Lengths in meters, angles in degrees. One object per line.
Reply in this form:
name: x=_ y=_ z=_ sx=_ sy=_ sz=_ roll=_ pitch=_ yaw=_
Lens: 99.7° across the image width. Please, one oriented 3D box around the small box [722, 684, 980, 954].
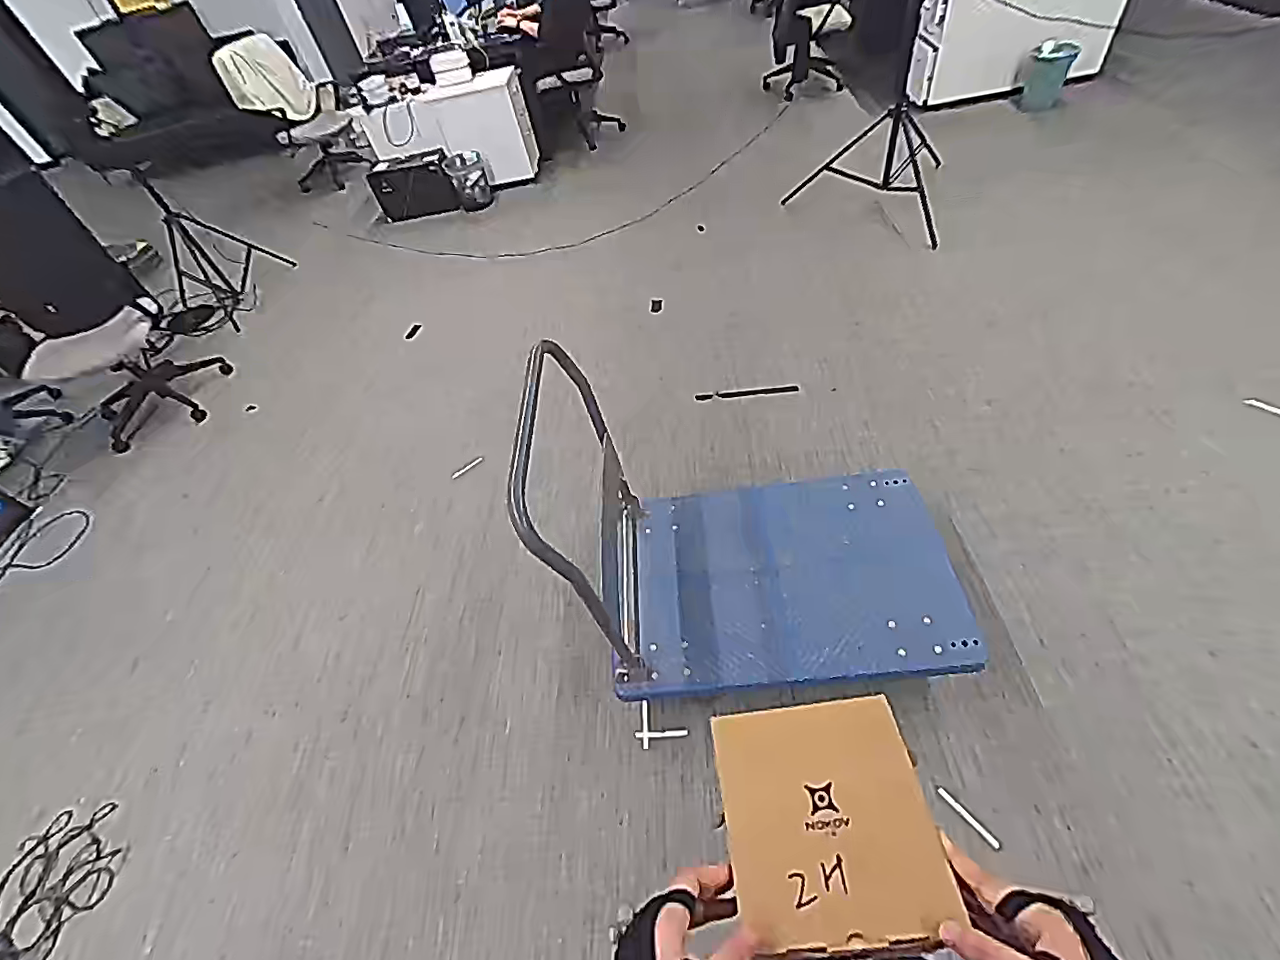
small box: x=0.173 y=0.318 z=0.506 sx=0.168 sy=0.176 sz=0.179 roll=-10 pitch=45 yaw=6
